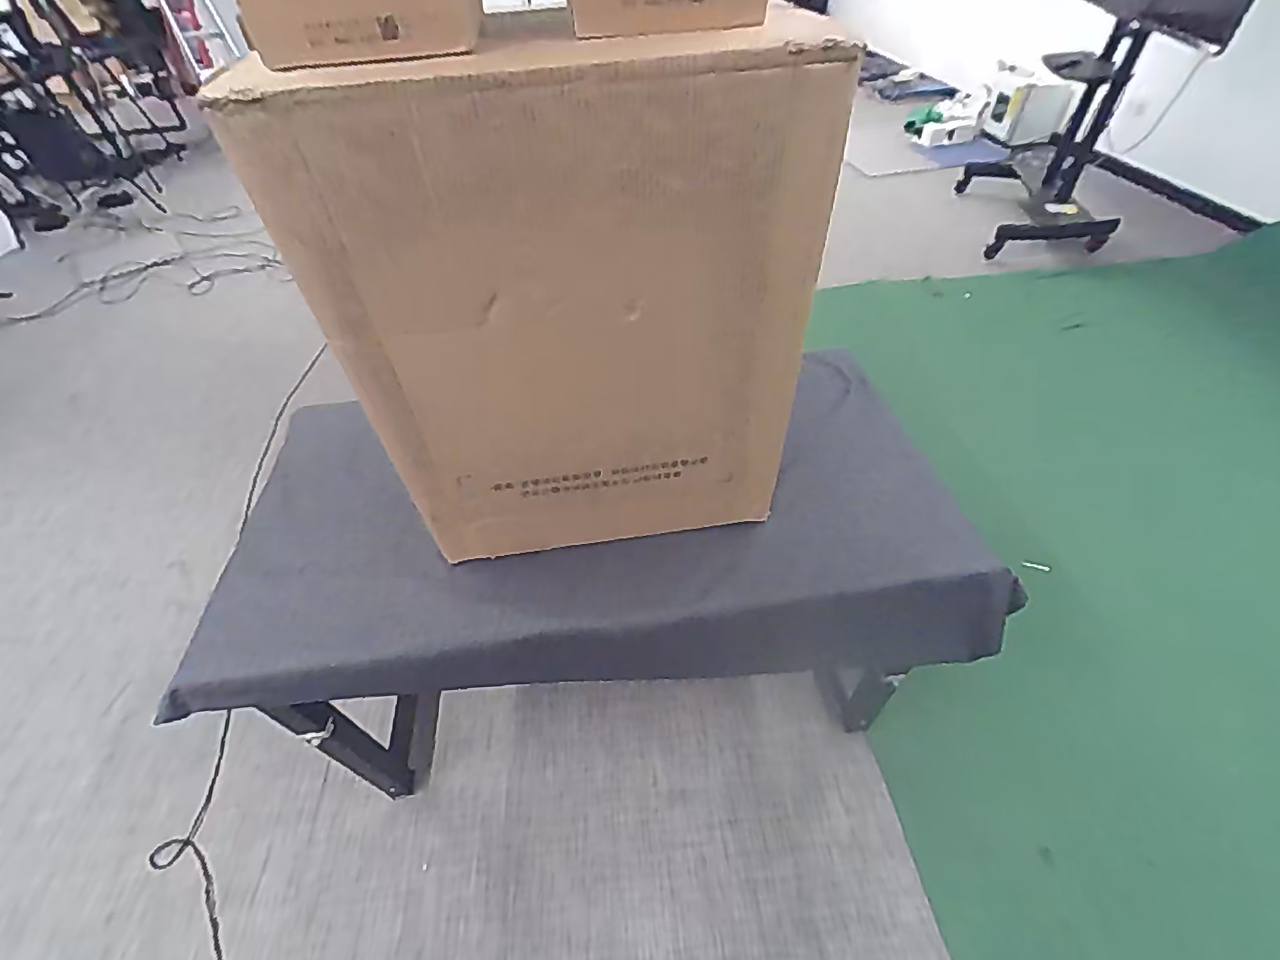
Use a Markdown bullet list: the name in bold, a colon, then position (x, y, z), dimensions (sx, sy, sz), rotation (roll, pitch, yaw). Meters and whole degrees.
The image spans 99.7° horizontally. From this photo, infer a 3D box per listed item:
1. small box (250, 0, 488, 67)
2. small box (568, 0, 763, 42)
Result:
- **small box**: position (-0.225, -0.449, 0.431), dimensions (0.168, 0.176, 0.179), rotation (-7, 50, -3)
- **small box**: position (0.016, -0.491, 0.460), dimensions (0.168, 0.176, 0.179), rotation (-6, 48, -5)
